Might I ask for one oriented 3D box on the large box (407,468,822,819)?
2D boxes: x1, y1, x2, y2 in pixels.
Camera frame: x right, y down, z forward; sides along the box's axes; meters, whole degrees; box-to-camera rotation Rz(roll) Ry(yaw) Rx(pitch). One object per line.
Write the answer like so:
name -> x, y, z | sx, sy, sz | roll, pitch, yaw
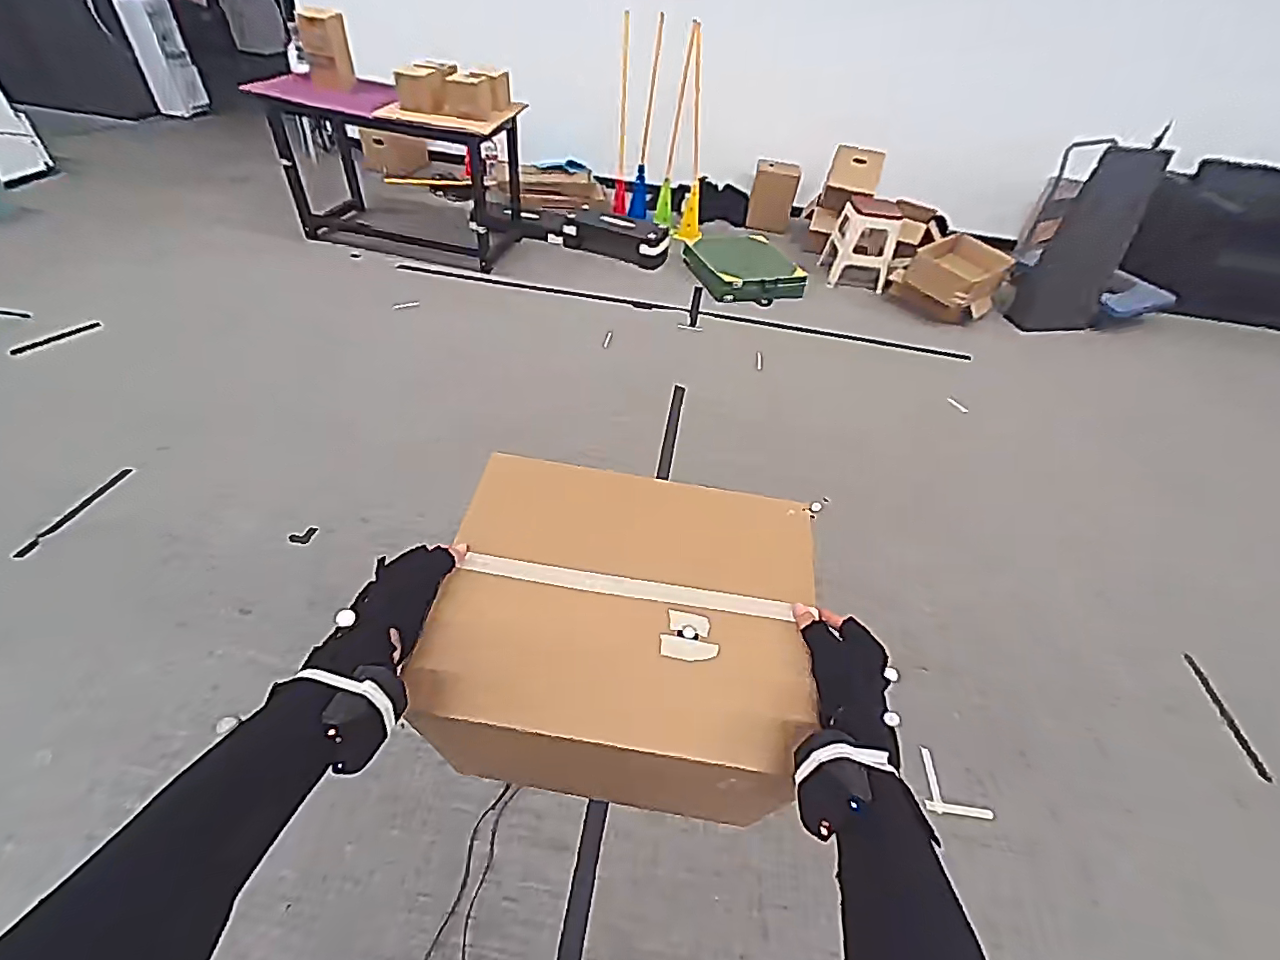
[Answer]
large box -> -0.021, 0.220, 0.712 | 0.408, 0.320, 0.320 | 9, 51, 1
